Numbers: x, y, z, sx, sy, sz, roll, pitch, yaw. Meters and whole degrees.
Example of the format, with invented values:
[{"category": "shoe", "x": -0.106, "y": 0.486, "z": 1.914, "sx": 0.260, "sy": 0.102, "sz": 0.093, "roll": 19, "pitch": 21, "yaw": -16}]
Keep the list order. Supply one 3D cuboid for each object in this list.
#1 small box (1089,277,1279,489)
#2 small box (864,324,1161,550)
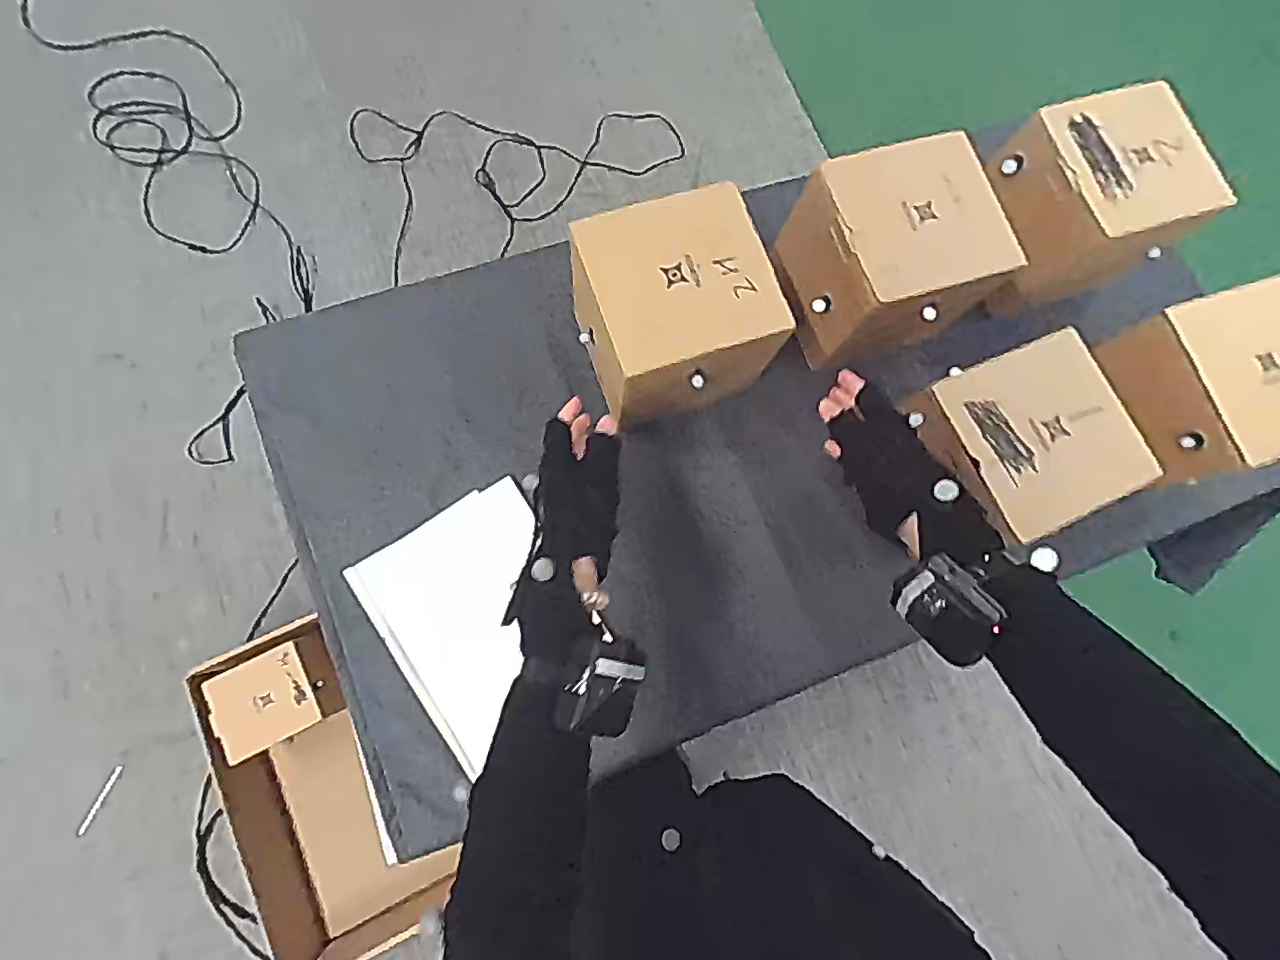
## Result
[{"category": "small box", "x": 0.623, "y": -0.098, "z": 0.622, "sx": 0.168, "sy": 0.176, "sz": 0.179, "roll": -16, "pitch": 80, "yaw": -8}, {"category": "small box", "x": 0.372, "y": -0.033, "z": 0.583, "sx": 0.179, "sy": 0.176, "sz": 0.168, "roll": -22, "pitch": 81, "yaw": -10}]
